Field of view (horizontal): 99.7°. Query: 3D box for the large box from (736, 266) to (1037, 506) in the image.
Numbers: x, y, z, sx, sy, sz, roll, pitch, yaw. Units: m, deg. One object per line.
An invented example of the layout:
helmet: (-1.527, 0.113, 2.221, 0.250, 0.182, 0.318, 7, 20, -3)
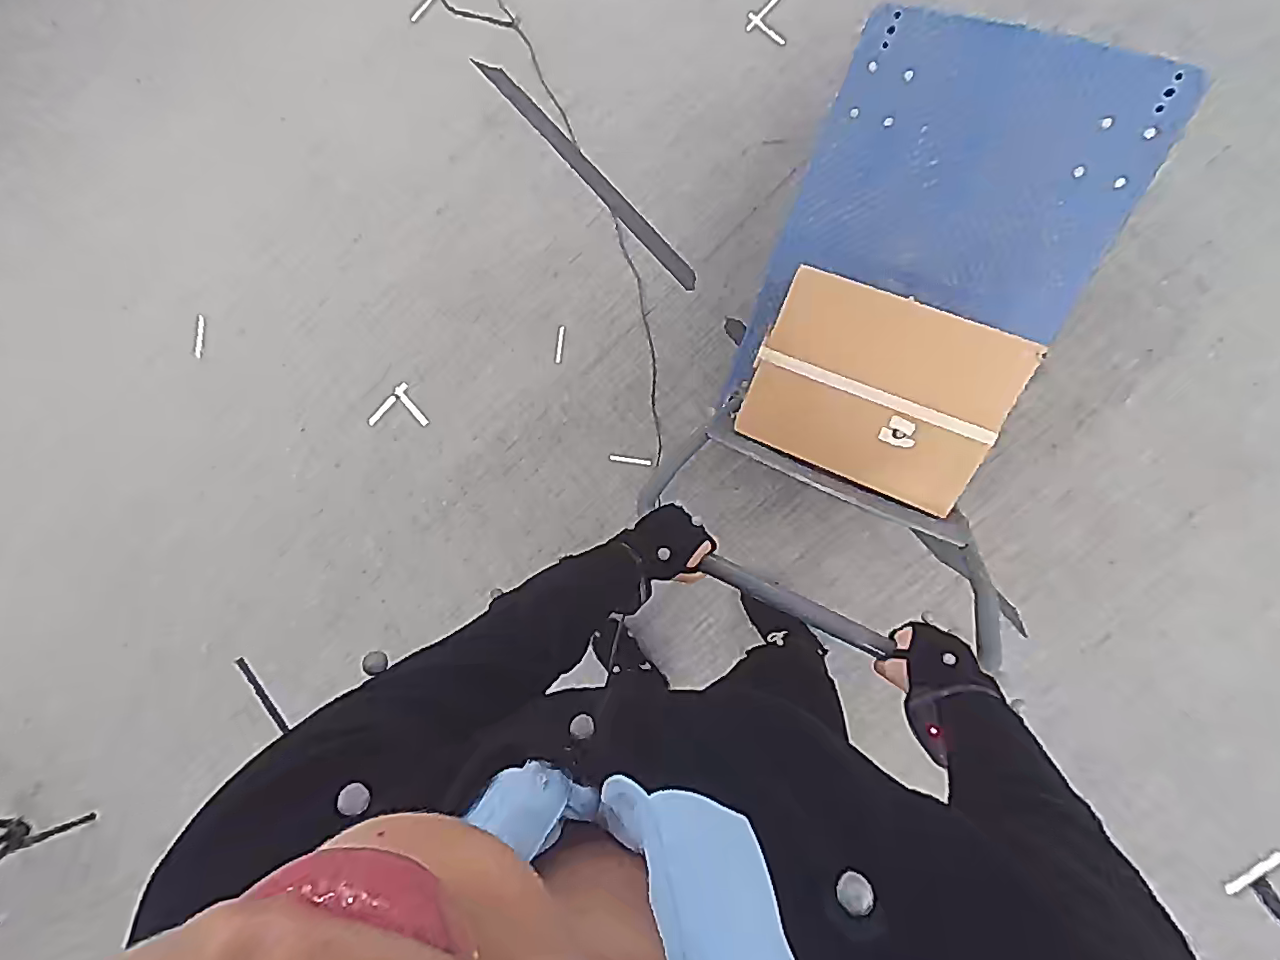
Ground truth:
large box: (0.453, -0.200, 1.082, 0.408, 0.320, 0.320, 25, 113, 12)
